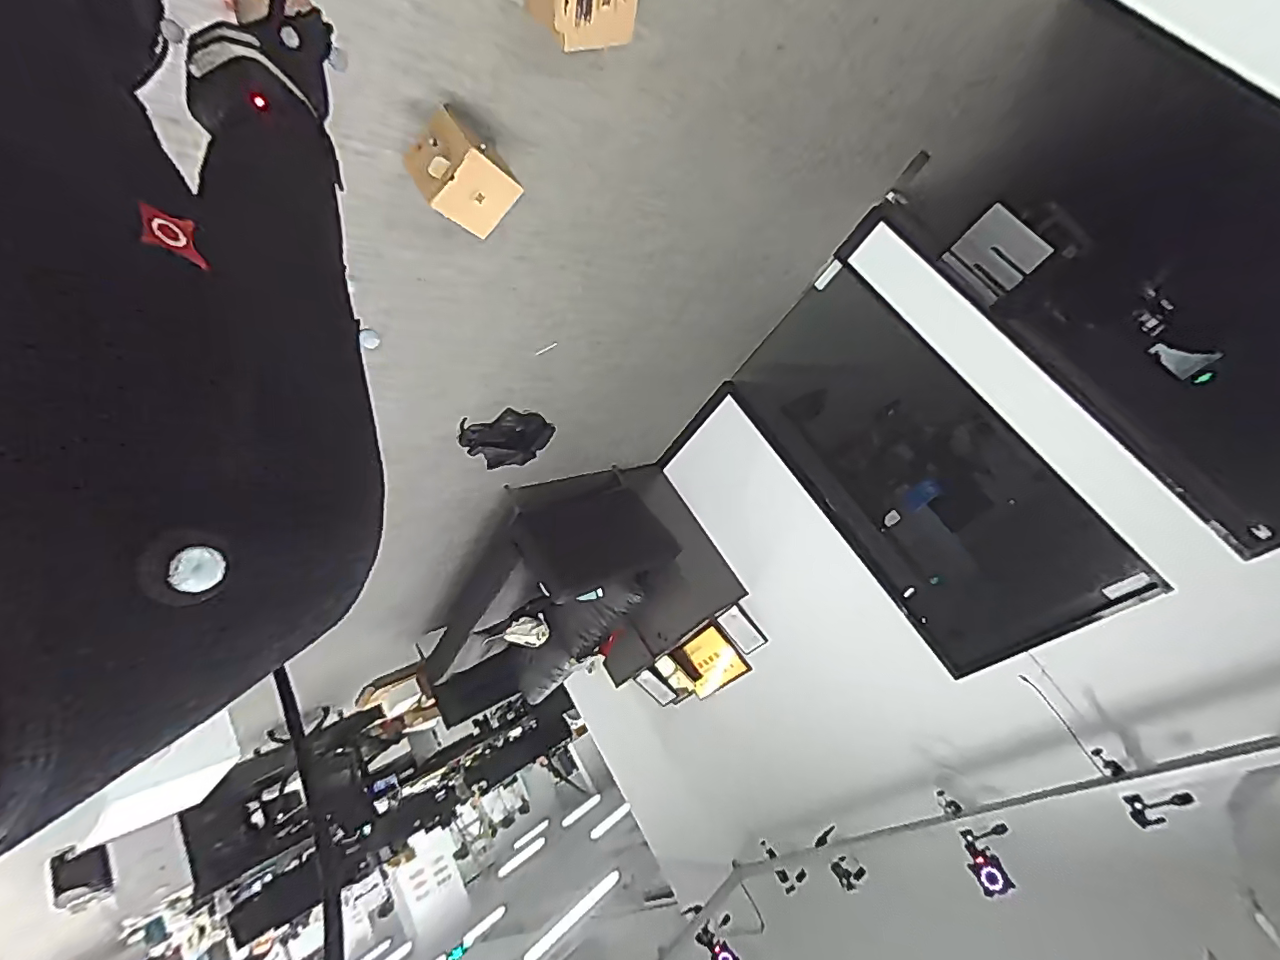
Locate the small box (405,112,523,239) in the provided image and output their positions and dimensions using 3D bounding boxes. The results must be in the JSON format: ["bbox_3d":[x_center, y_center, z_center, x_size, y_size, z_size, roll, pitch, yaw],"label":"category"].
[{"bbox_3d":[-0.422,-0.727,1.295,0.168,0.176,0.179,-40,160,20],"label":"small box"}]
